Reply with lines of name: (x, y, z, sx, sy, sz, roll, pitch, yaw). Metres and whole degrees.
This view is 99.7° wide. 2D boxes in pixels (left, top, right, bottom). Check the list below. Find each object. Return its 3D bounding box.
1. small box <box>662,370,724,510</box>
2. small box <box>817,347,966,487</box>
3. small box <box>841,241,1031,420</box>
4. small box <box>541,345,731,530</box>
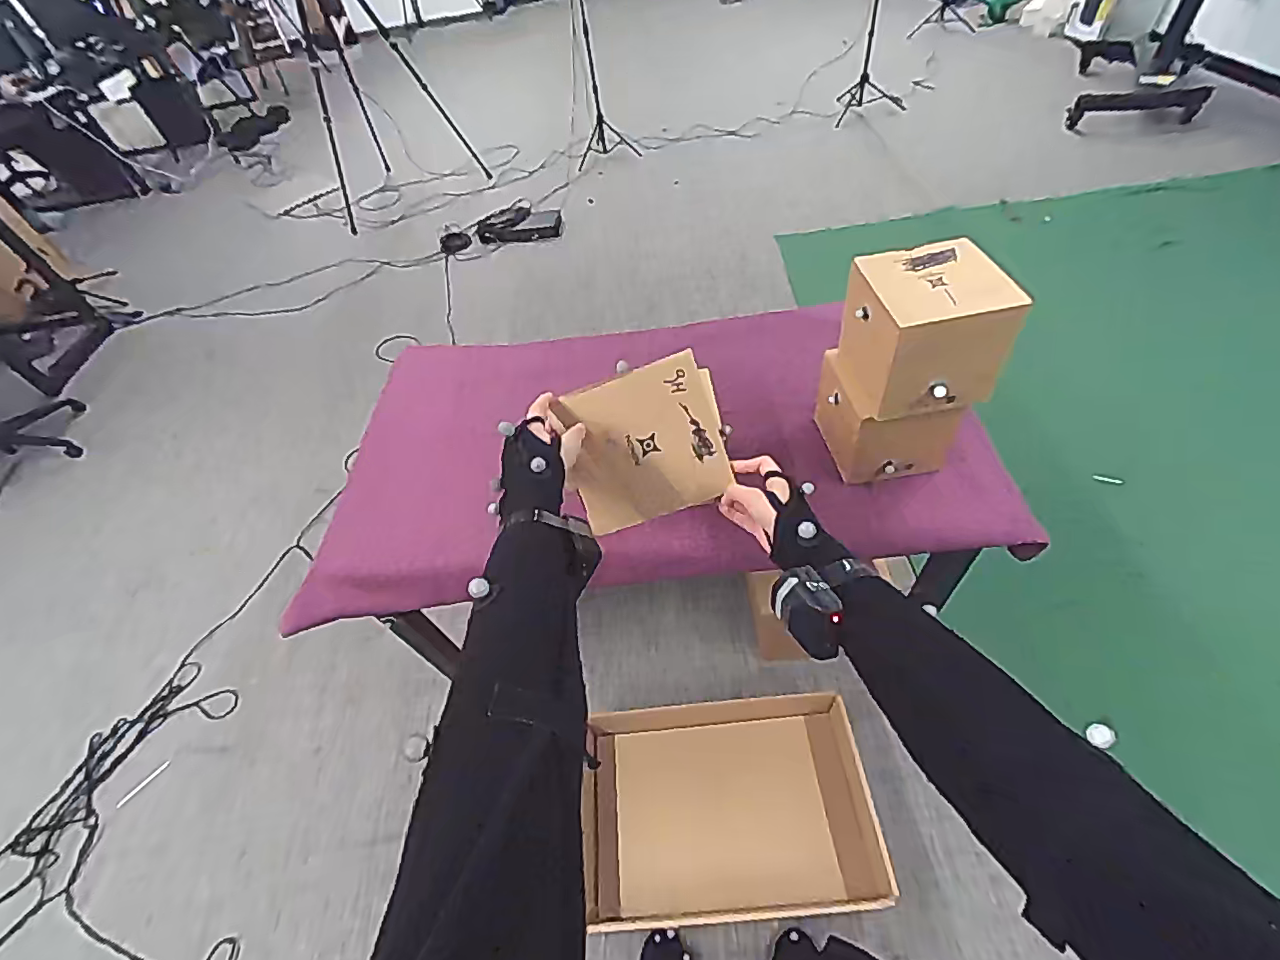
small box: (0.045, -0.062, 0.929, 0.179, 0.176, 0.168, -8, 49, 4)
small box: (0.408, -0.114, 0.911, 0.168, 0.176, 0.179, -10, 49, 3)
small box: (0.402, -0.212, 0.777, 0.168, 0.176, 0.179, -10, 49, 4)
small box: (0.003, -0.059, 0.672, 0.179, 0.168, 0.176, -18, 11, 9)
